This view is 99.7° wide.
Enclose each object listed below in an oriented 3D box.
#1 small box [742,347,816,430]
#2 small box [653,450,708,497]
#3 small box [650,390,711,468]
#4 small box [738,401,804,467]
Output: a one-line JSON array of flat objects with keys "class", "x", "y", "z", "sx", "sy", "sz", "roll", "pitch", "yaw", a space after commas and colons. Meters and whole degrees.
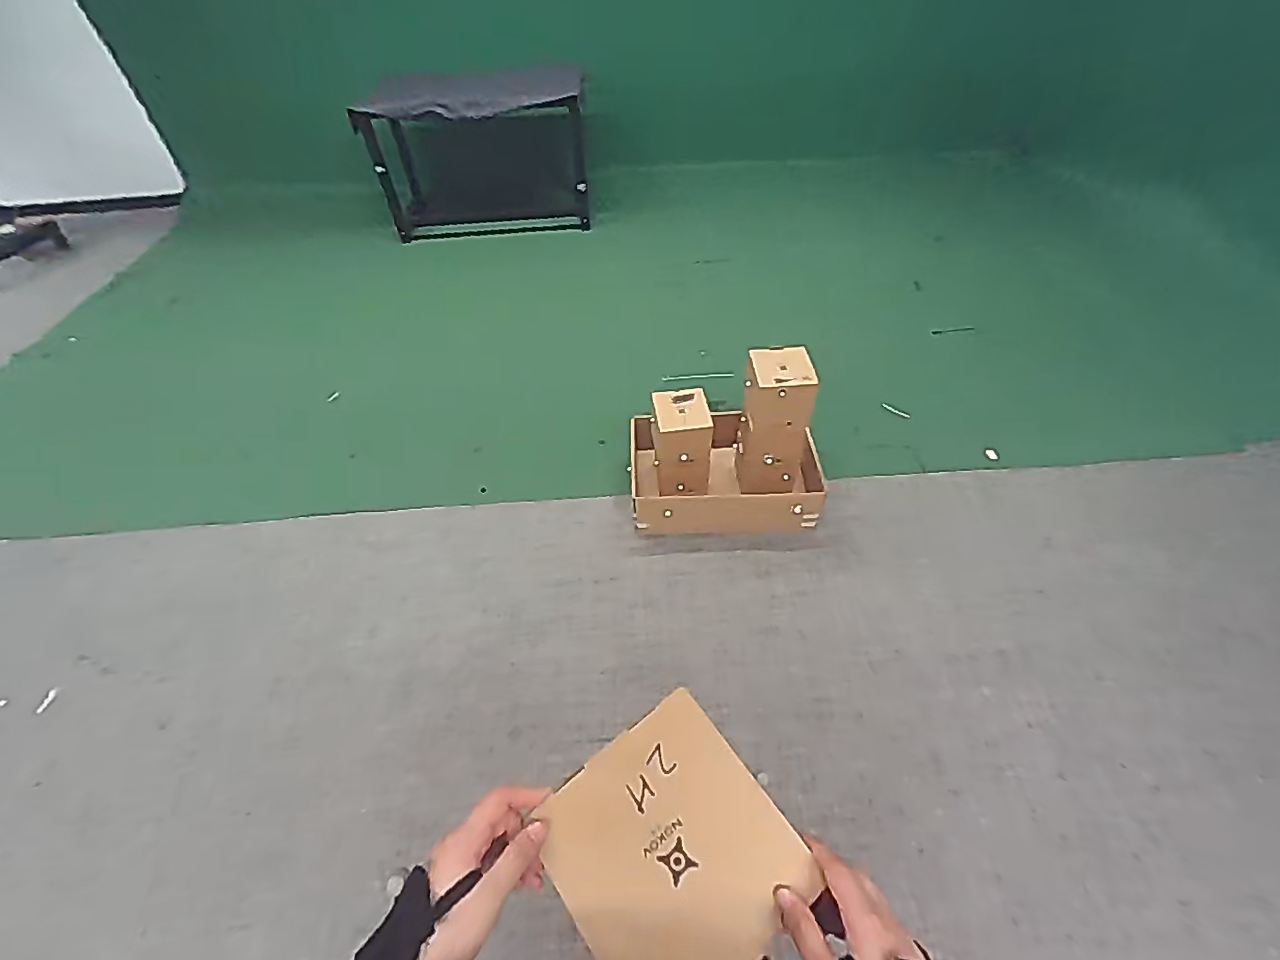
[{"class": "small box", "x": 0.400, "y": -0.269, "z": 1.590, "sx": 0.168, "sy": 0.176, "sz": 0.179, "roll": -4, "pitch": 48, "yaw": 1}, {"class": "small box", "x": 0.133, "y": -0.064, "z": 1.861, "sx": 0.168, "sy": 0.176, "sz": 0.179, "roll": -5, "pitch": 49, "yaw": -3}, {"class": "small box", "x": 0.122, "y": -0.163, "z": 1.729, "sx": 0.168, "sy": 0.176, "sz": 0.179, "roll": -7, "pitch": 51, "yaw": -4}, {"class": "small box", "x": 0.408, "y": -0.161, "z": 1.714, "sx": 0.168, "sy": 0.176, "sz": 0.179, "roll": -2, "pitch": 50, "yaw": 3}]
